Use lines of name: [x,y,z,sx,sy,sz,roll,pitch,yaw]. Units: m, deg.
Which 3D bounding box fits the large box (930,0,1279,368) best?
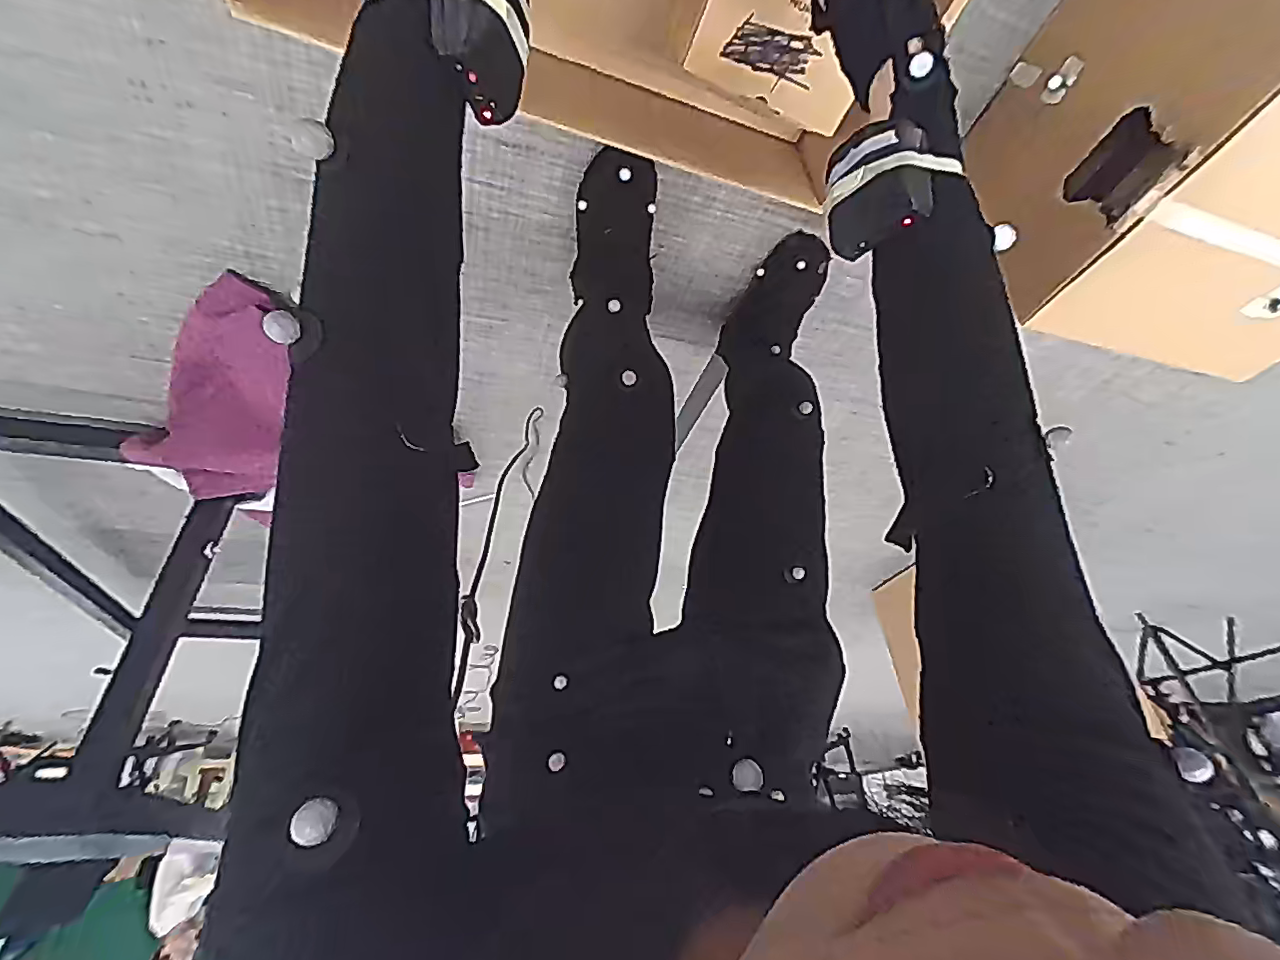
large box: [0.667,-0.379,0.659,0.408,0.320,0.320,6,145,-16]
